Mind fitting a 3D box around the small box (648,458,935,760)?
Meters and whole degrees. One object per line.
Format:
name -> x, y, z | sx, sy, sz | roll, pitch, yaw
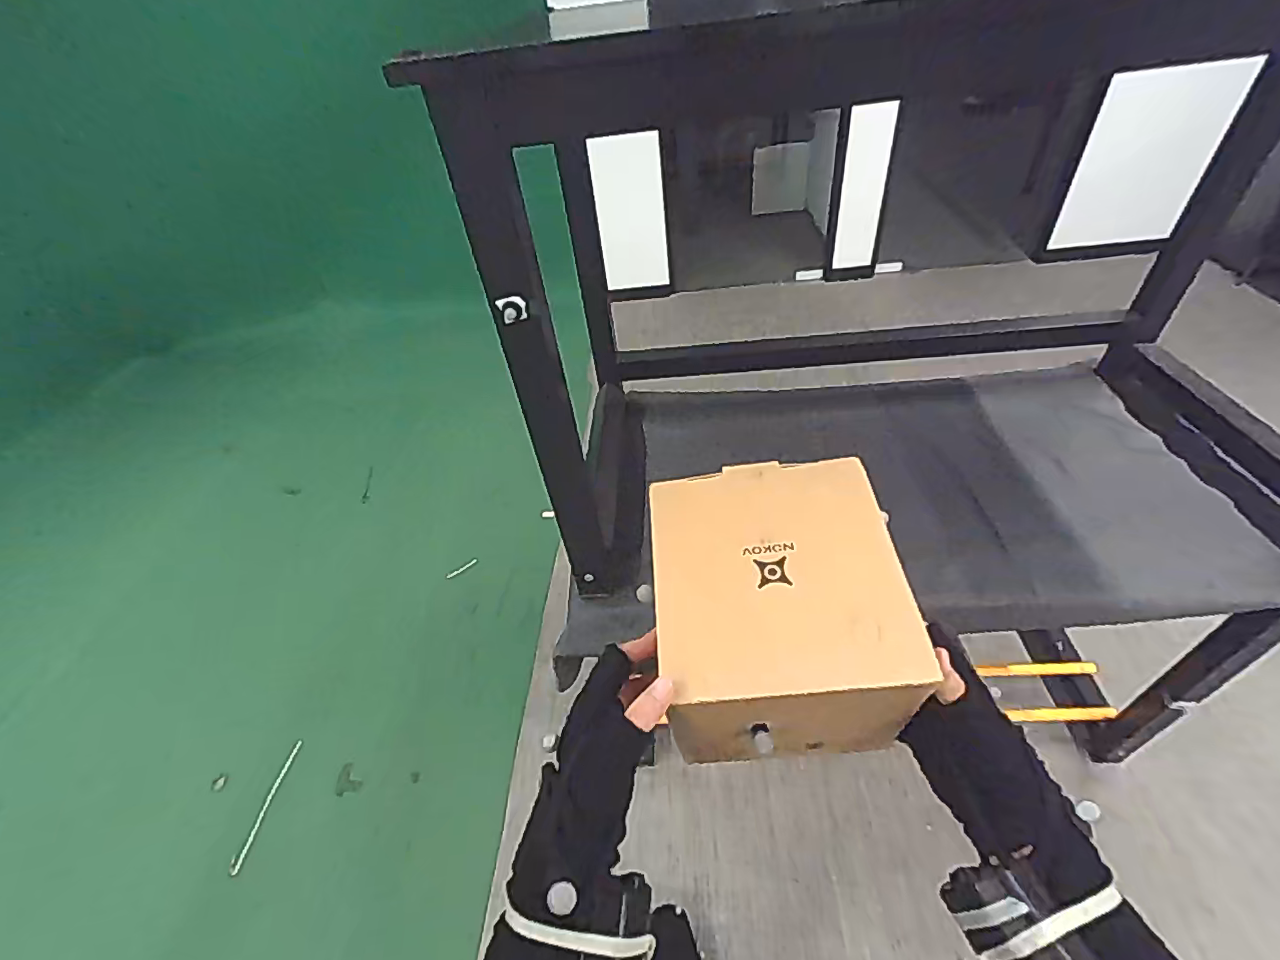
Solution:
small box -> 0.102, 0.110, 0.429 | 0.168, 0.176, 0.179 | -7, 49, 6
